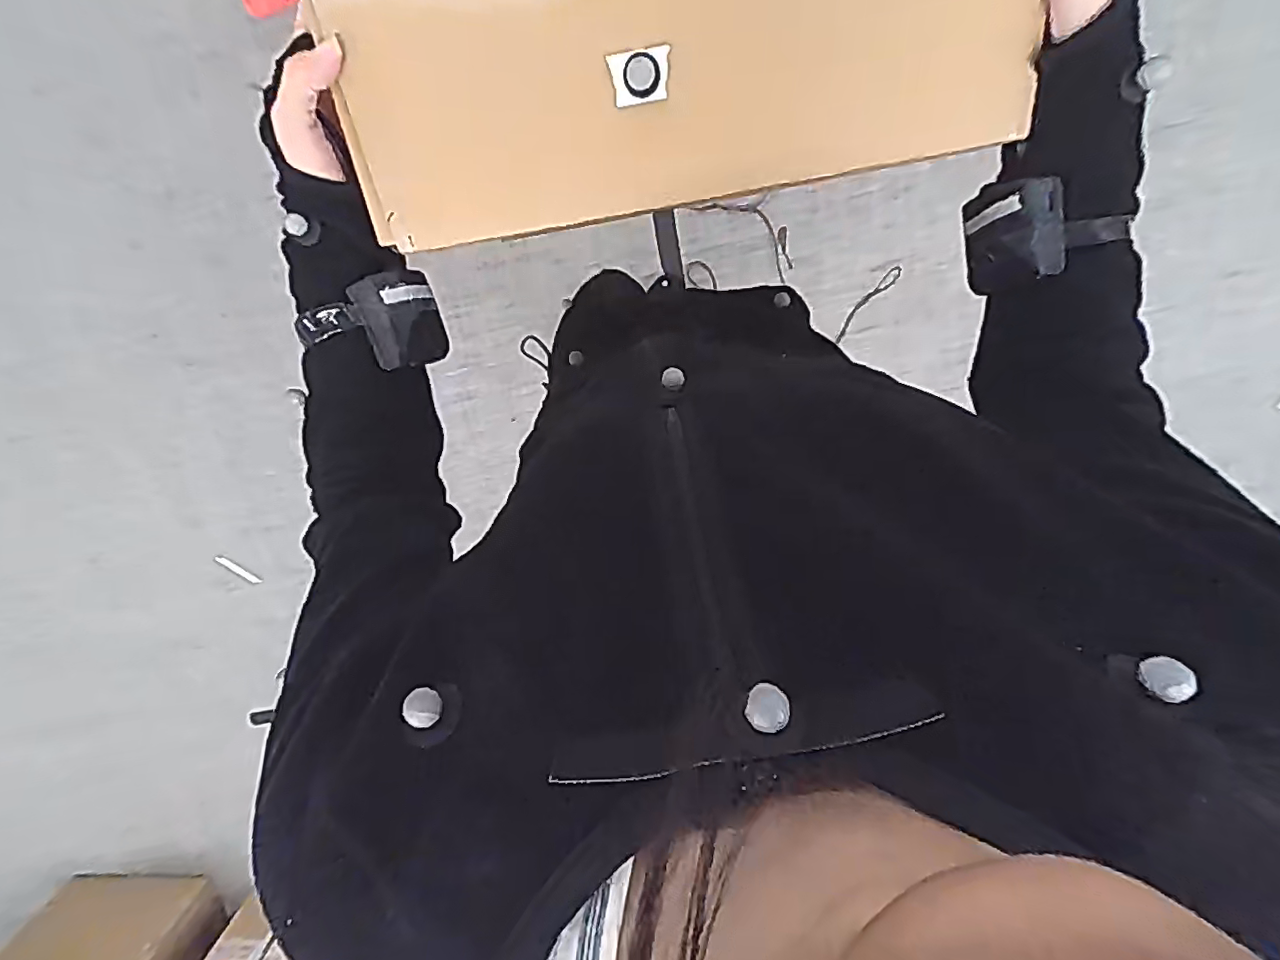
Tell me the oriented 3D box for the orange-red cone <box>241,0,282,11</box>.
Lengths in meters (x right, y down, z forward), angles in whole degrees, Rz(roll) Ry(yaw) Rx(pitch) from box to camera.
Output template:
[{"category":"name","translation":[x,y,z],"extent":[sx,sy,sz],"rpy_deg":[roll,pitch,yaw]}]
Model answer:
[{"category":"orange-red cone","translation":[-0.762,-1.026,0.923],"extent":[0.199,0.360,0.198],"rpy_deg":[-19,108,9]}]
